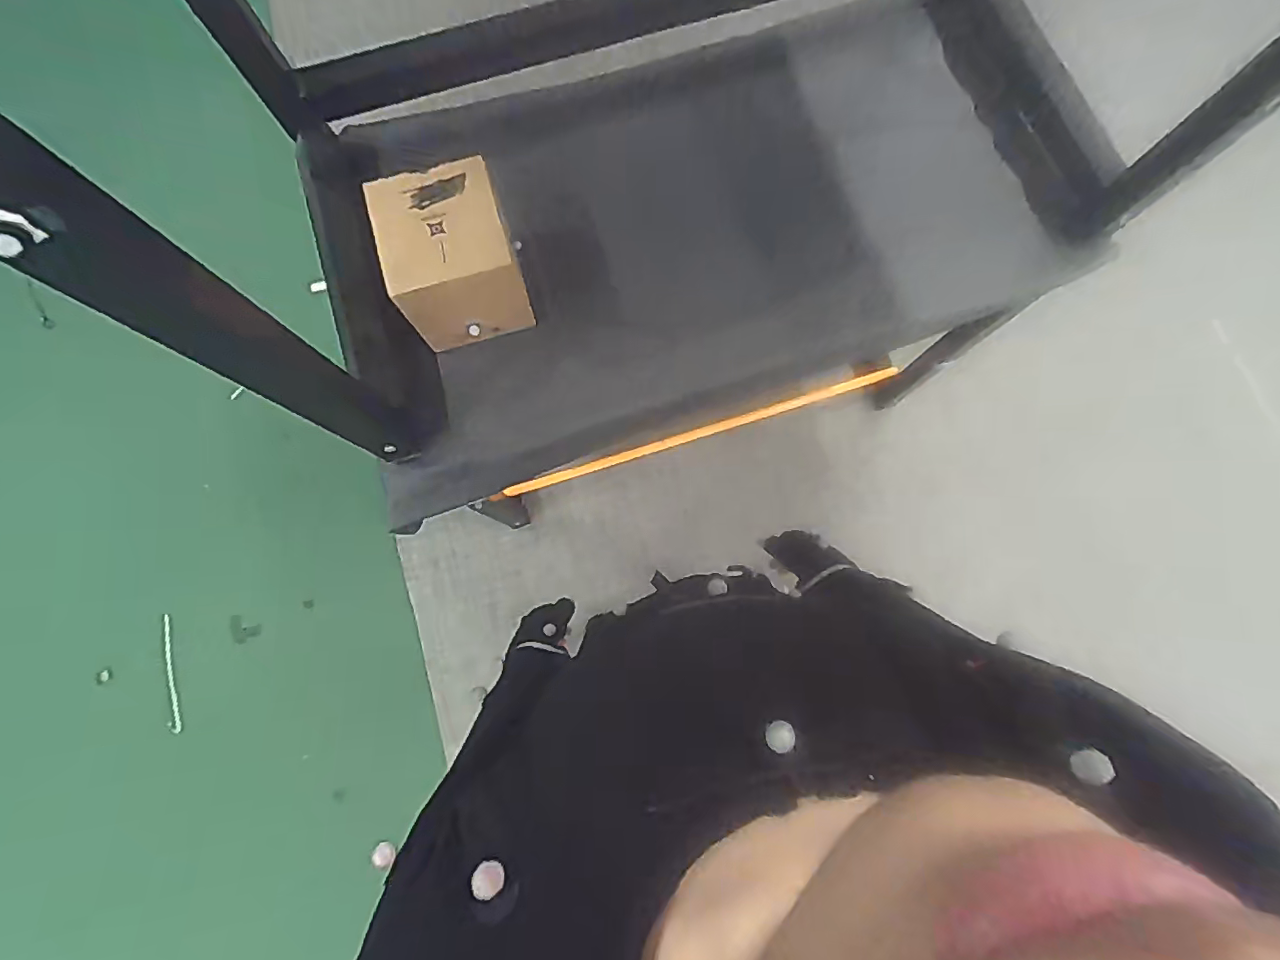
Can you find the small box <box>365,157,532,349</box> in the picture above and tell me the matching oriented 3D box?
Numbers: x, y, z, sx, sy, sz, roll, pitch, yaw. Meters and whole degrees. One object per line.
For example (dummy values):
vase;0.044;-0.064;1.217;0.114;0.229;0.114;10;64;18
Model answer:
small box;-0.268;-0.321;0.790;0.168;0.176;0.179;-17;79;-3
